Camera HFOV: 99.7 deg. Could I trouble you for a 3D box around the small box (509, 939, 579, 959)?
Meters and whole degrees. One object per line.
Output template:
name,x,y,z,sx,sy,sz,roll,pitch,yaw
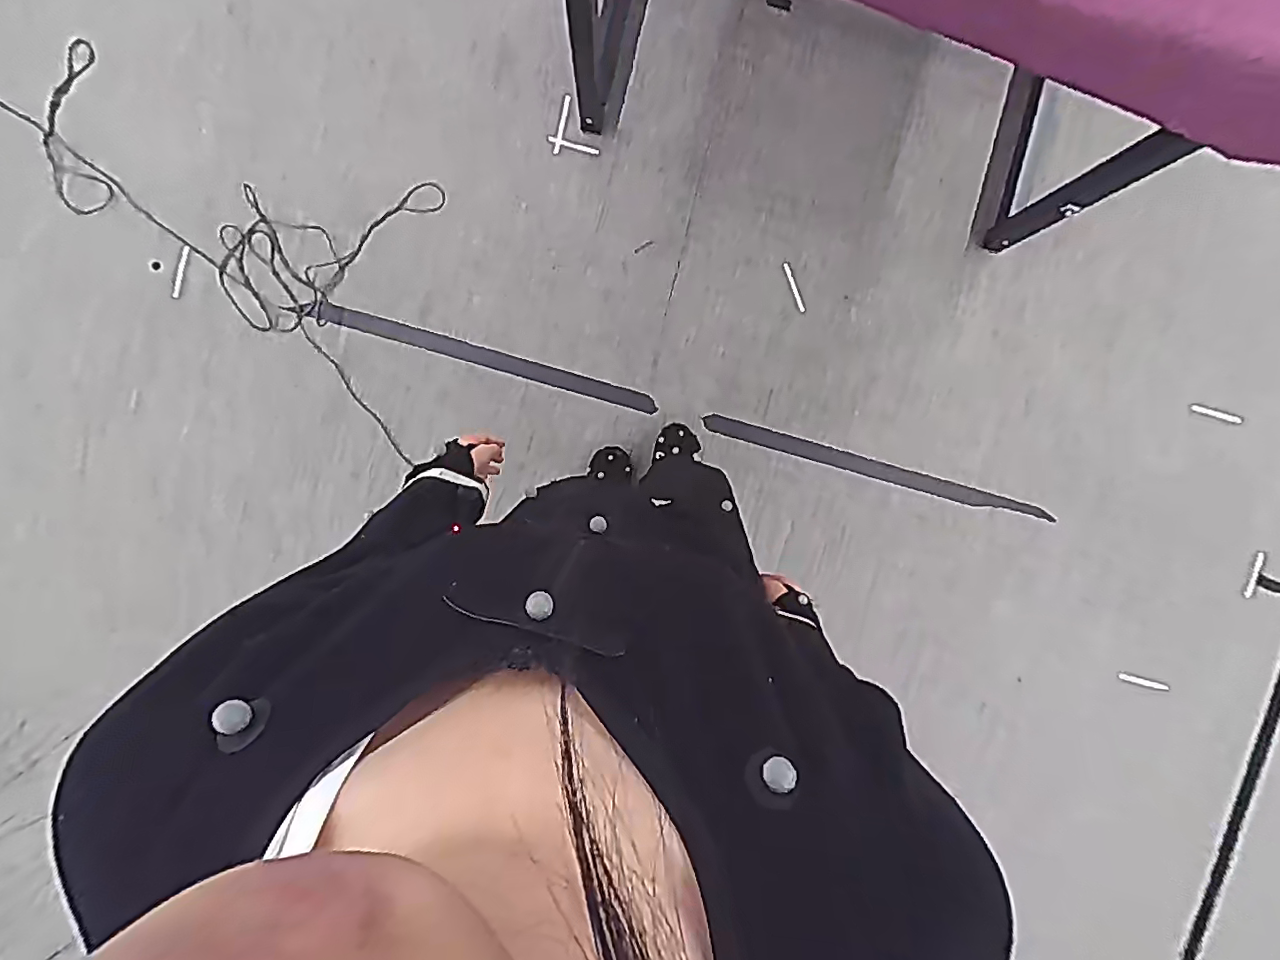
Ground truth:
small box,-0.231,1.174,1.188,0.168,0.176,0.179,12,93,-3
